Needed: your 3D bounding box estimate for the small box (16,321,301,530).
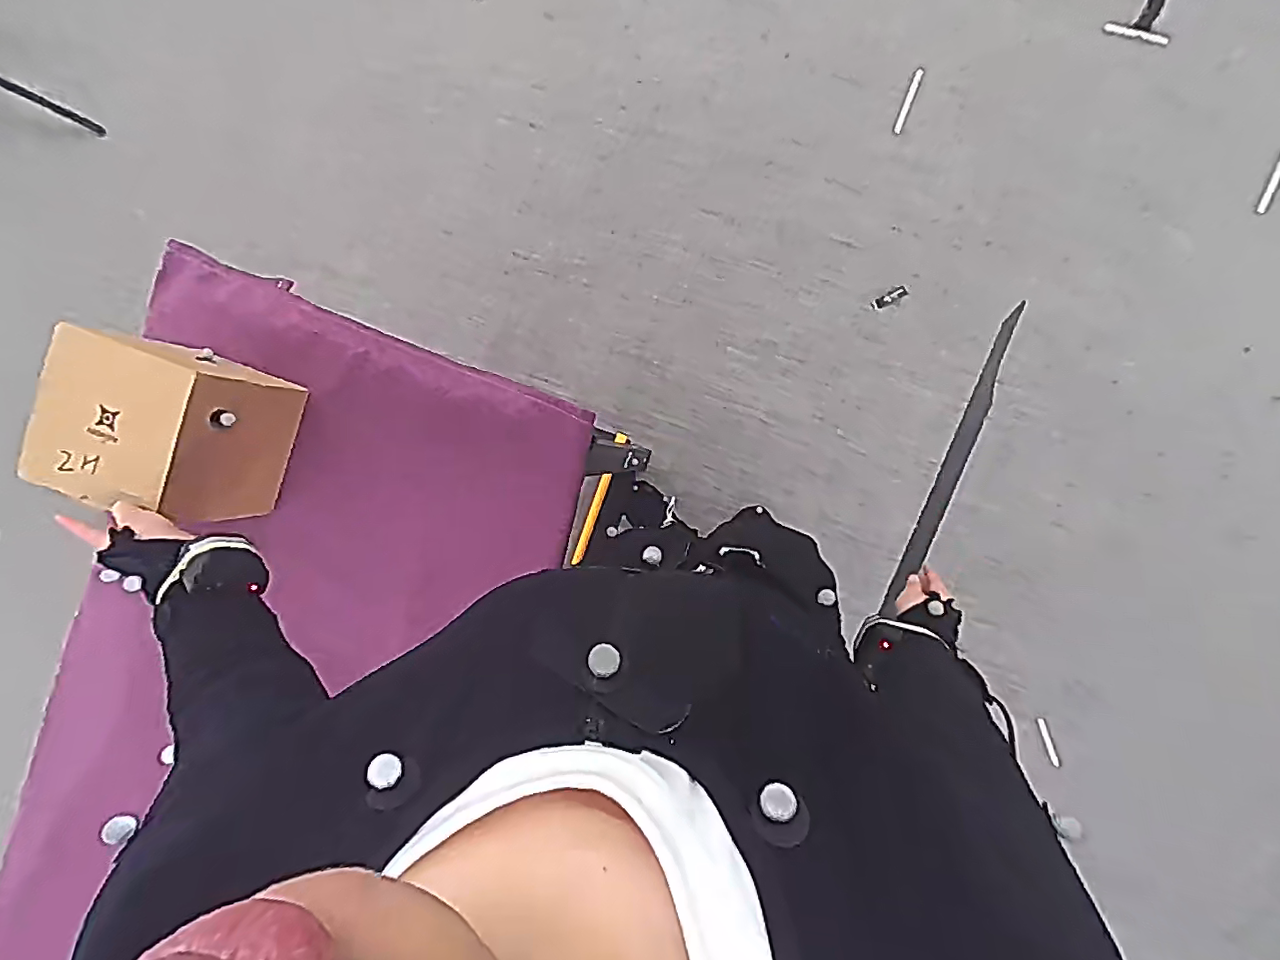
[{"bbox_3d":[-0.544,-0.060,0.637,0.168,0.176,0.179,20,95,4],"label":"small box"}]
